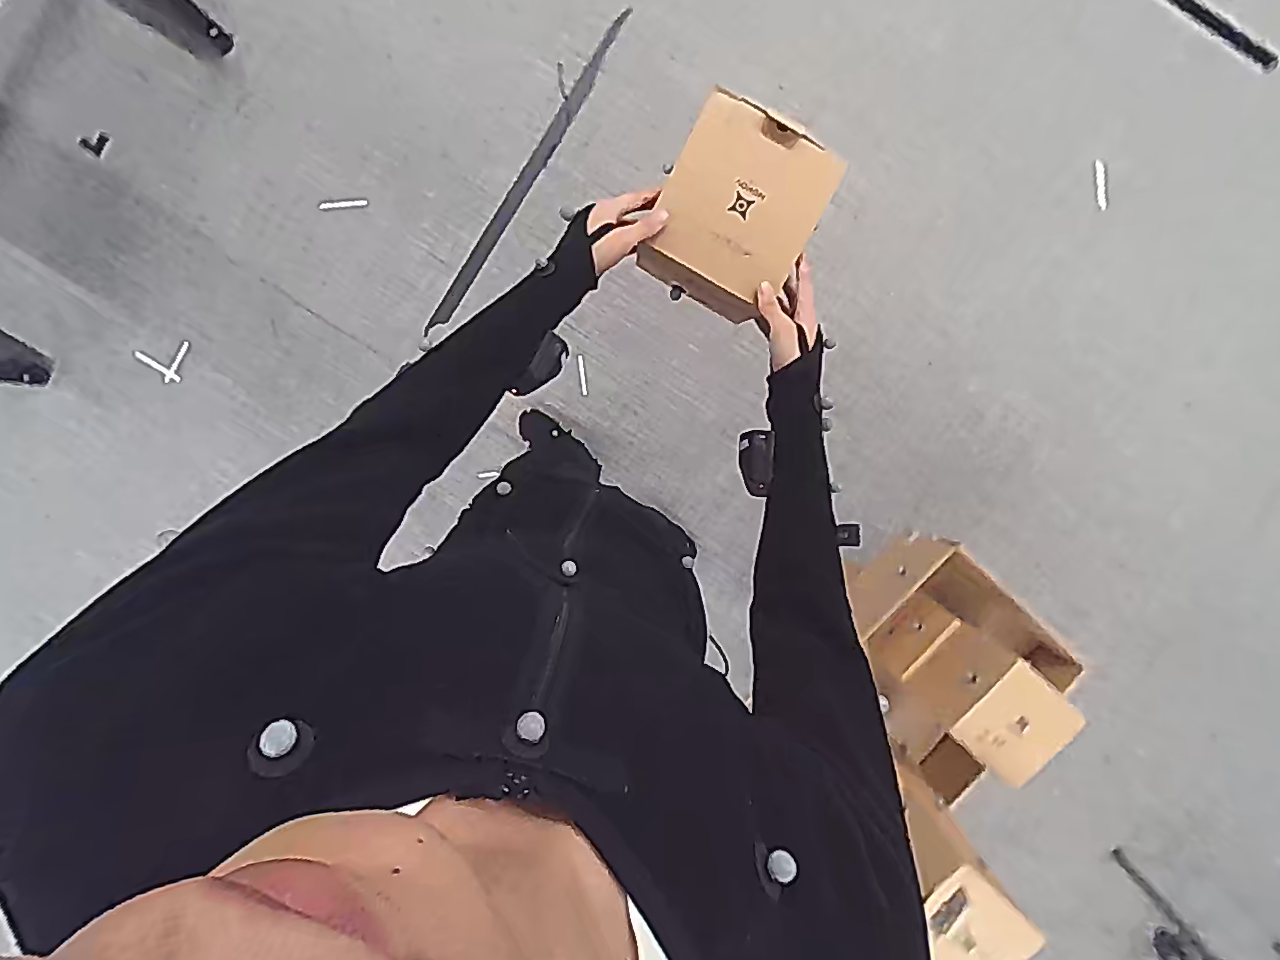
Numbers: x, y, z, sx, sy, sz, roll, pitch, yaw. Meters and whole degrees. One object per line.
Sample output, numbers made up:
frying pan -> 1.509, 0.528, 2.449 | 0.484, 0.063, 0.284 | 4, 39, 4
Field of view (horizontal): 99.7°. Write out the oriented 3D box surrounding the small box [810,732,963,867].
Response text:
small box -> 0.443, 0.623, 1.012 | 0.168, 0.176, 0.179 | 40, 95, -3

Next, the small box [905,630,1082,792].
small box -> 0.633, 0.410, 0.993 | 0.168, 0.176, 0.179 | 42, 95, -3

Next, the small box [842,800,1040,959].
small box -> 0.453, 0.647, 0.849 | 0.179, 0.176, 0.168 | 44, 94, -4

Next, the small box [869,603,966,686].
small box -> 0.631, 0.386, 1.156 | 0.179, 0.176, 0.168 | 40, 95, -4
